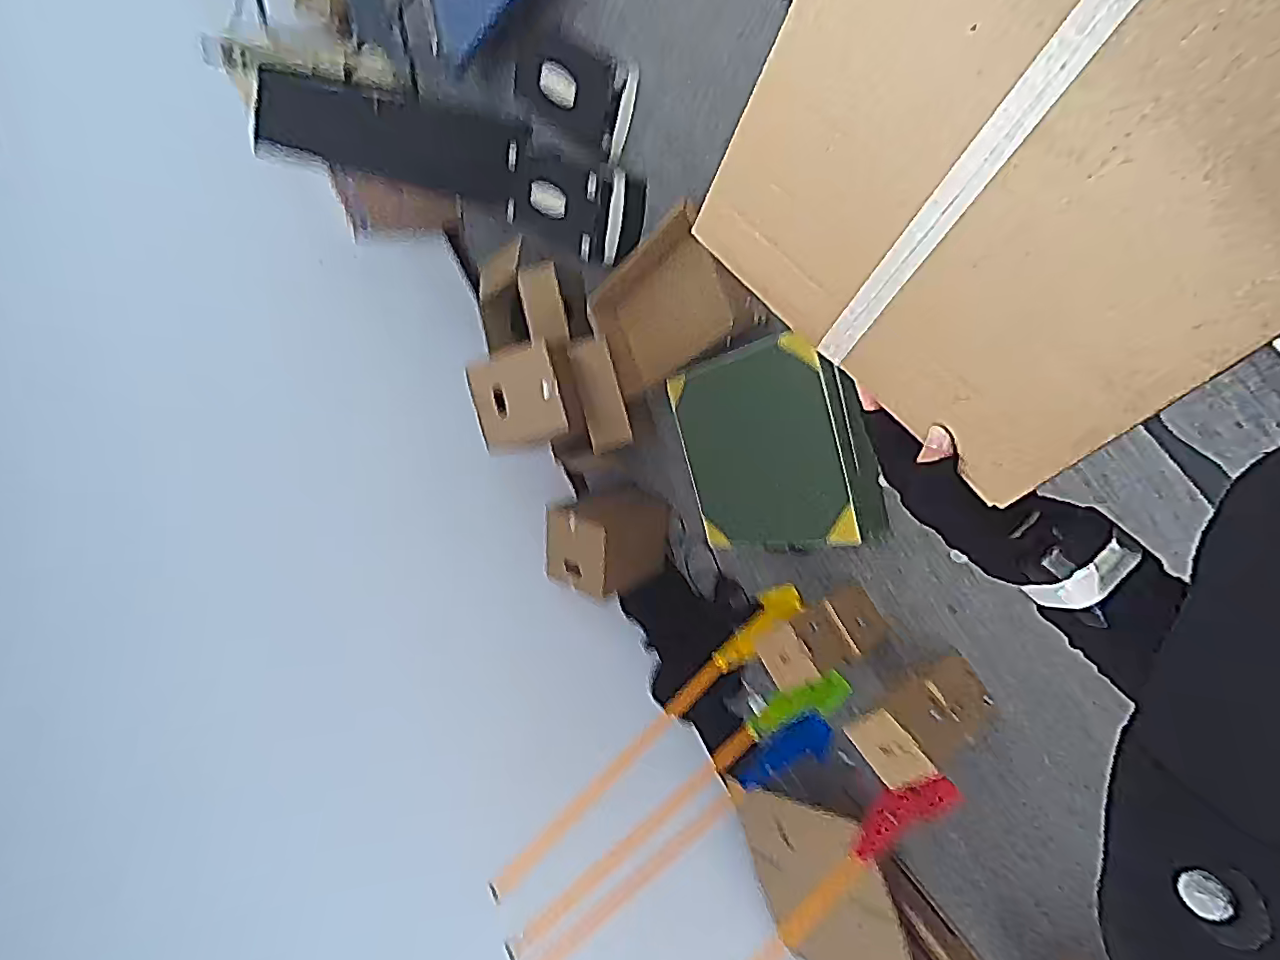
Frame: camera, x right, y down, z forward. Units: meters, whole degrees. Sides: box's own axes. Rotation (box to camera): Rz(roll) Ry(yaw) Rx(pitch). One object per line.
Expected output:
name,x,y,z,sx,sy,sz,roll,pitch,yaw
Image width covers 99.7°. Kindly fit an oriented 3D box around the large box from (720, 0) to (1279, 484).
large box,0.327,-0.272,0.346,0.320,0.320,0.408,49,142,14
